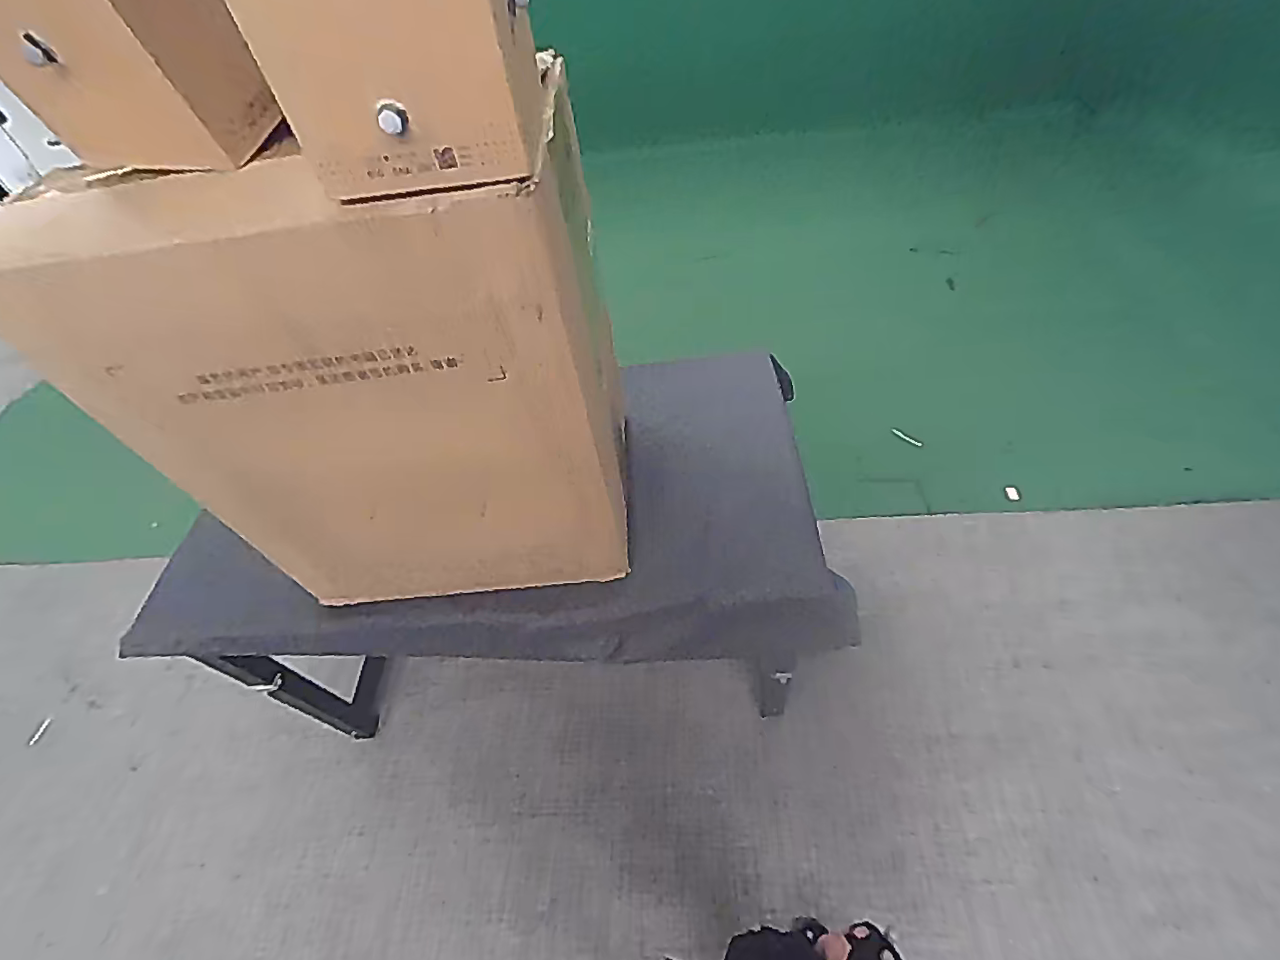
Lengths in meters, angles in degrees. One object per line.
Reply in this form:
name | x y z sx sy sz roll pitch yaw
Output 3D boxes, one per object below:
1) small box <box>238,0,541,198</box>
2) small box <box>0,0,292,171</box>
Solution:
small box | -0.178 -0.345 0.417 0.168 0.176 0.179 -5 52 3
small box | -0.443 -0.401 0.478 0.179 0.176 0.168 6 64 10
